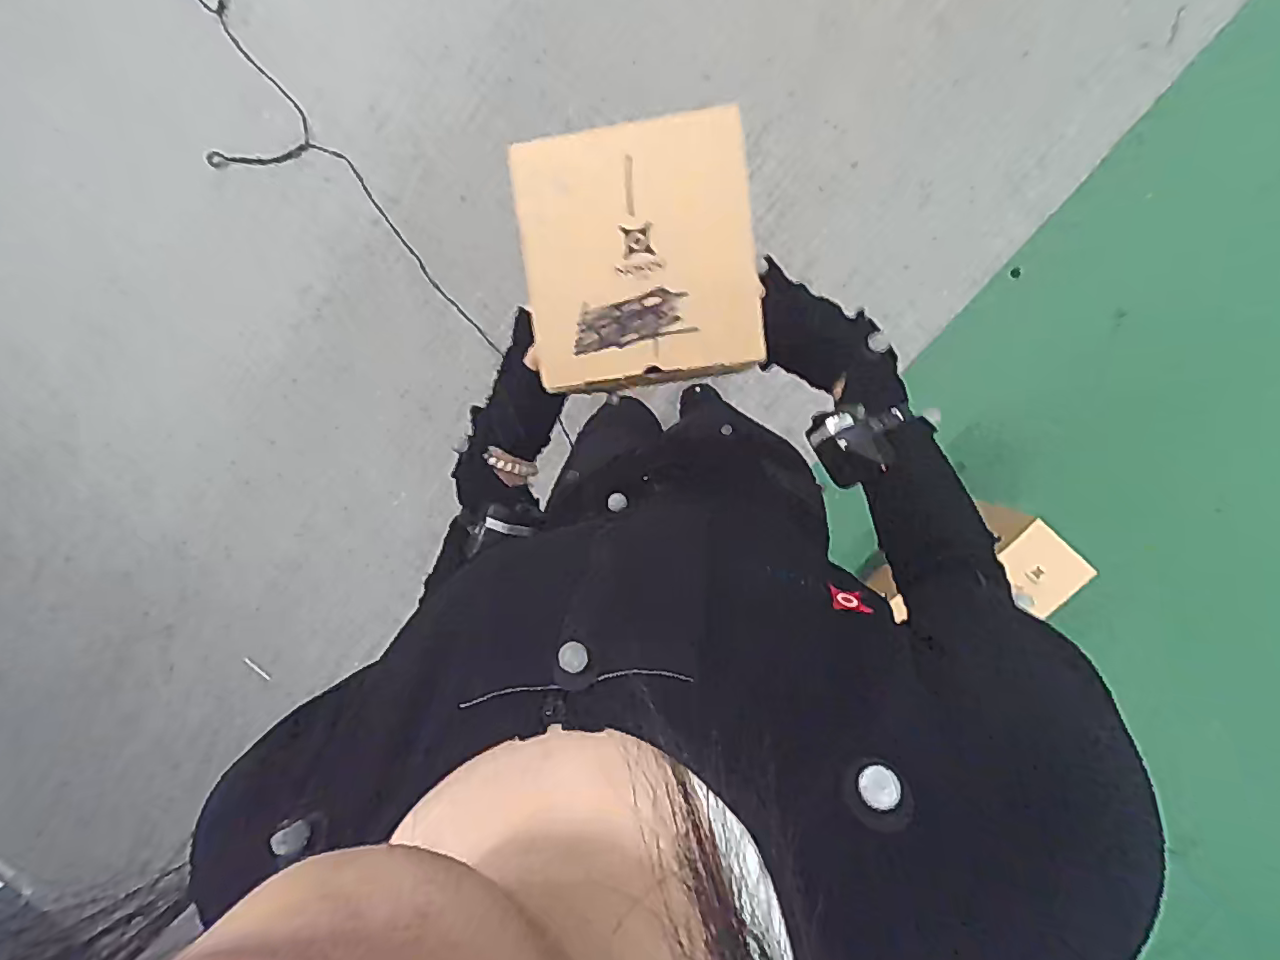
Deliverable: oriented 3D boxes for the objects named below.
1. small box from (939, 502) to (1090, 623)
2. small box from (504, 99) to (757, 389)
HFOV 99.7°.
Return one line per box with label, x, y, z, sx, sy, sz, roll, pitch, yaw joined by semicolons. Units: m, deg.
small box;0.804;0.171;1.184;0.168;0.176;0.179;42;101;-2
small box;0.001;-0.177;0.465;0.168;0.176;0.179;-8;98;6
